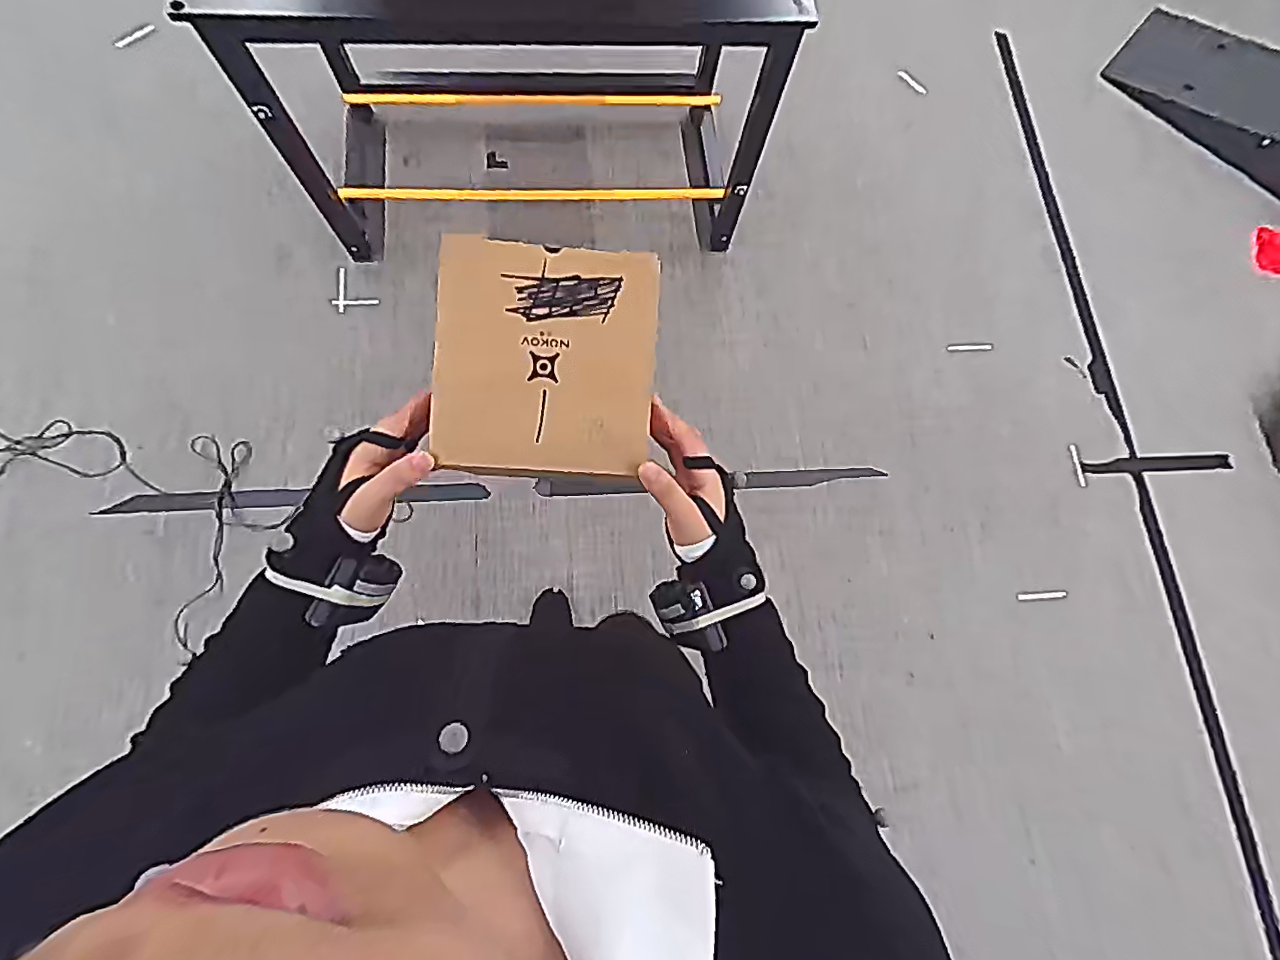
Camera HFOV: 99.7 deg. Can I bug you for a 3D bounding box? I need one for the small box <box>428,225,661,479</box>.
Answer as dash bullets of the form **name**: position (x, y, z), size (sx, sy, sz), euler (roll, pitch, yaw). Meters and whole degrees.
- **small box**: position (-0.078, -0.097, 0.488), size (0.168, 0.176, 0.179), euler (4, 88, -5)
